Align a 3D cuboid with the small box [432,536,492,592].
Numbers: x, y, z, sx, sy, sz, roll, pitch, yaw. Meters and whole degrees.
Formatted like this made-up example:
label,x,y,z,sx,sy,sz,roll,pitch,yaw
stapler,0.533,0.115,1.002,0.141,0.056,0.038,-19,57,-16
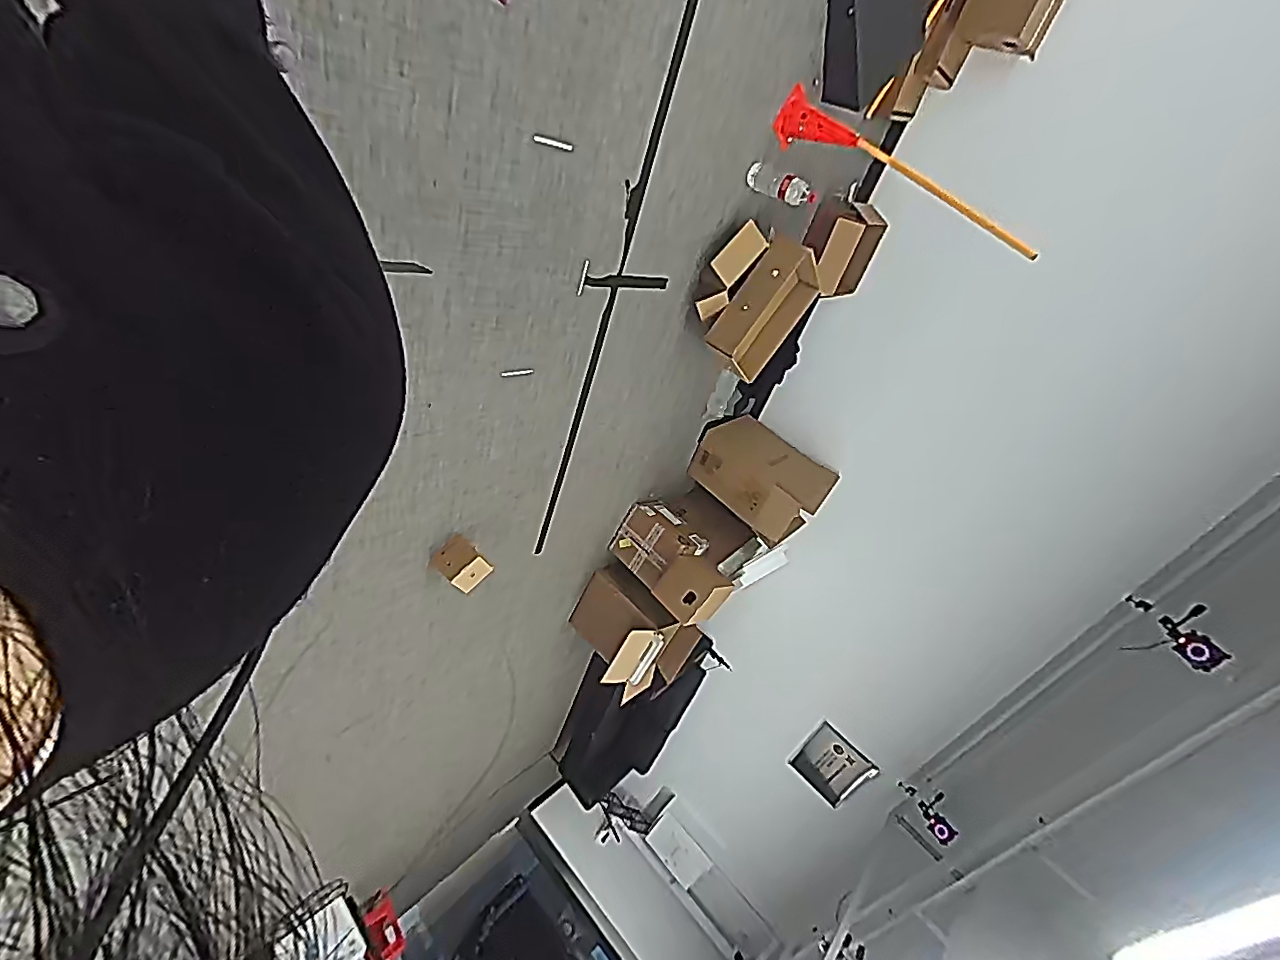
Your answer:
label,x,y,z,sx,sy,sz,roll,pitch,yaw
small box,-0.817,0.380,2.478,0.168,0.176,0.179,-43,155,-13
